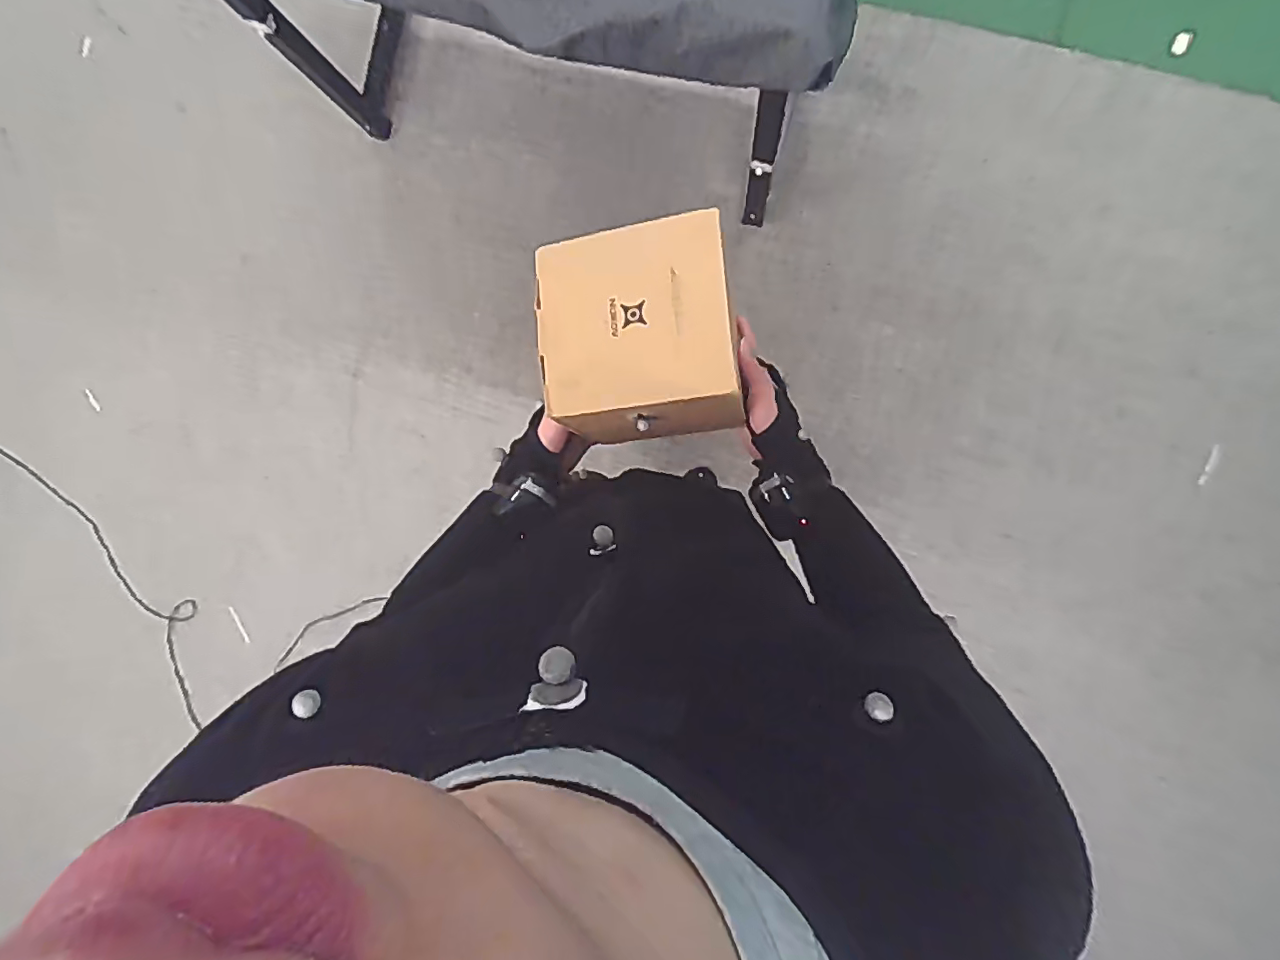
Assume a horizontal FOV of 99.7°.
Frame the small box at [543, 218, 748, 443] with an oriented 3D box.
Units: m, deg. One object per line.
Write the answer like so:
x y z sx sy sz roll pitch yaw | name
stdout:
0.016 -0.138 0.569 0.179 0.176 0.168 -7 85 12 | small box
